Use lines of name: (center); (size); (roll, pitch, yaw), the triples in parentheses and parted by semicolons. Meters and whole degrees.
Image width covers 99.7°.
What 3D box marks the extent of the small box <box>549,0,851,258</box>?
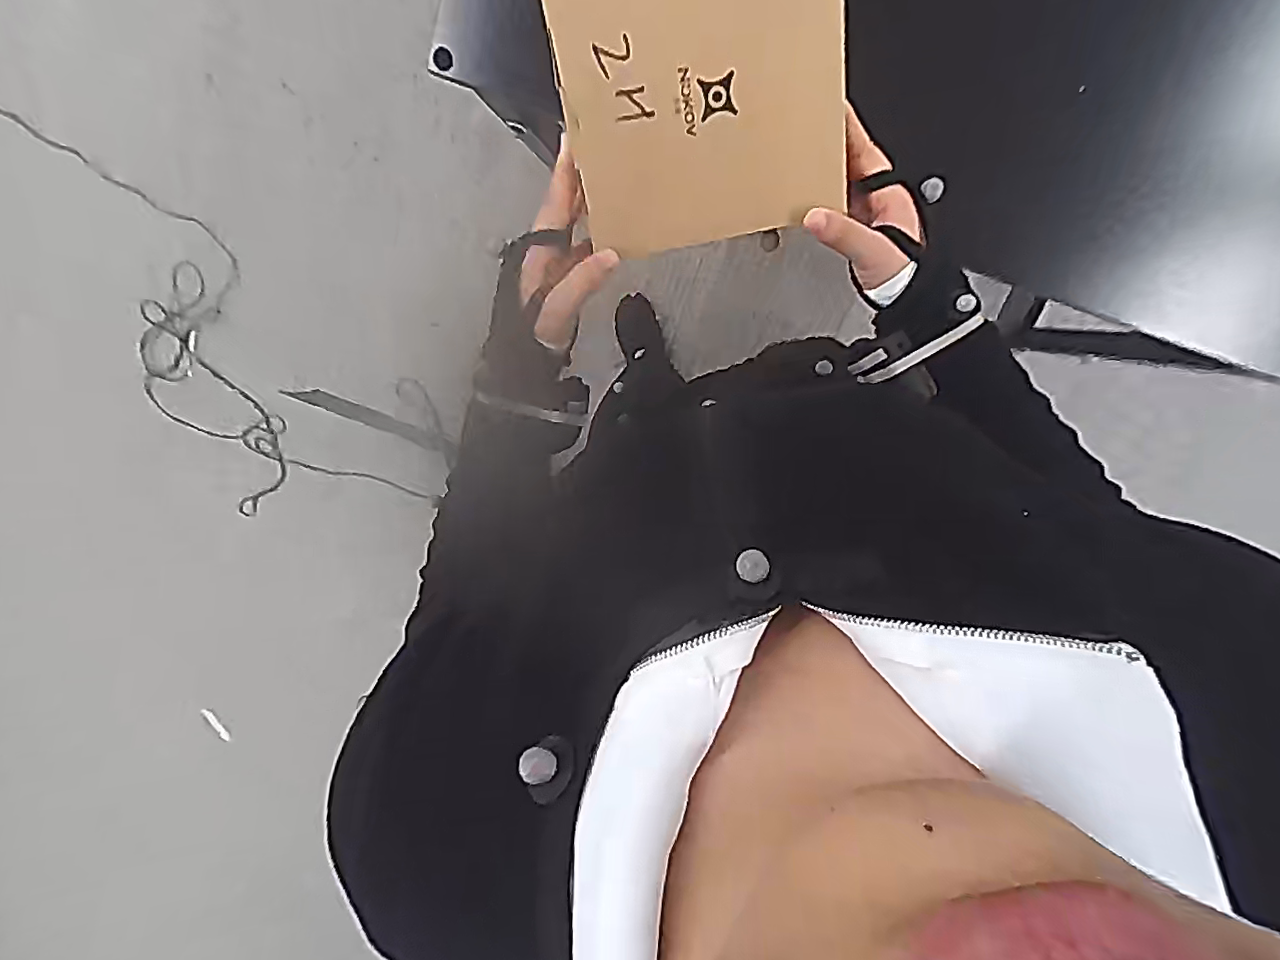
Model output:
small box: (0.041, -0.274, 0.404); (0.179, 0.176, 0.168); (-9, 117, 4)
